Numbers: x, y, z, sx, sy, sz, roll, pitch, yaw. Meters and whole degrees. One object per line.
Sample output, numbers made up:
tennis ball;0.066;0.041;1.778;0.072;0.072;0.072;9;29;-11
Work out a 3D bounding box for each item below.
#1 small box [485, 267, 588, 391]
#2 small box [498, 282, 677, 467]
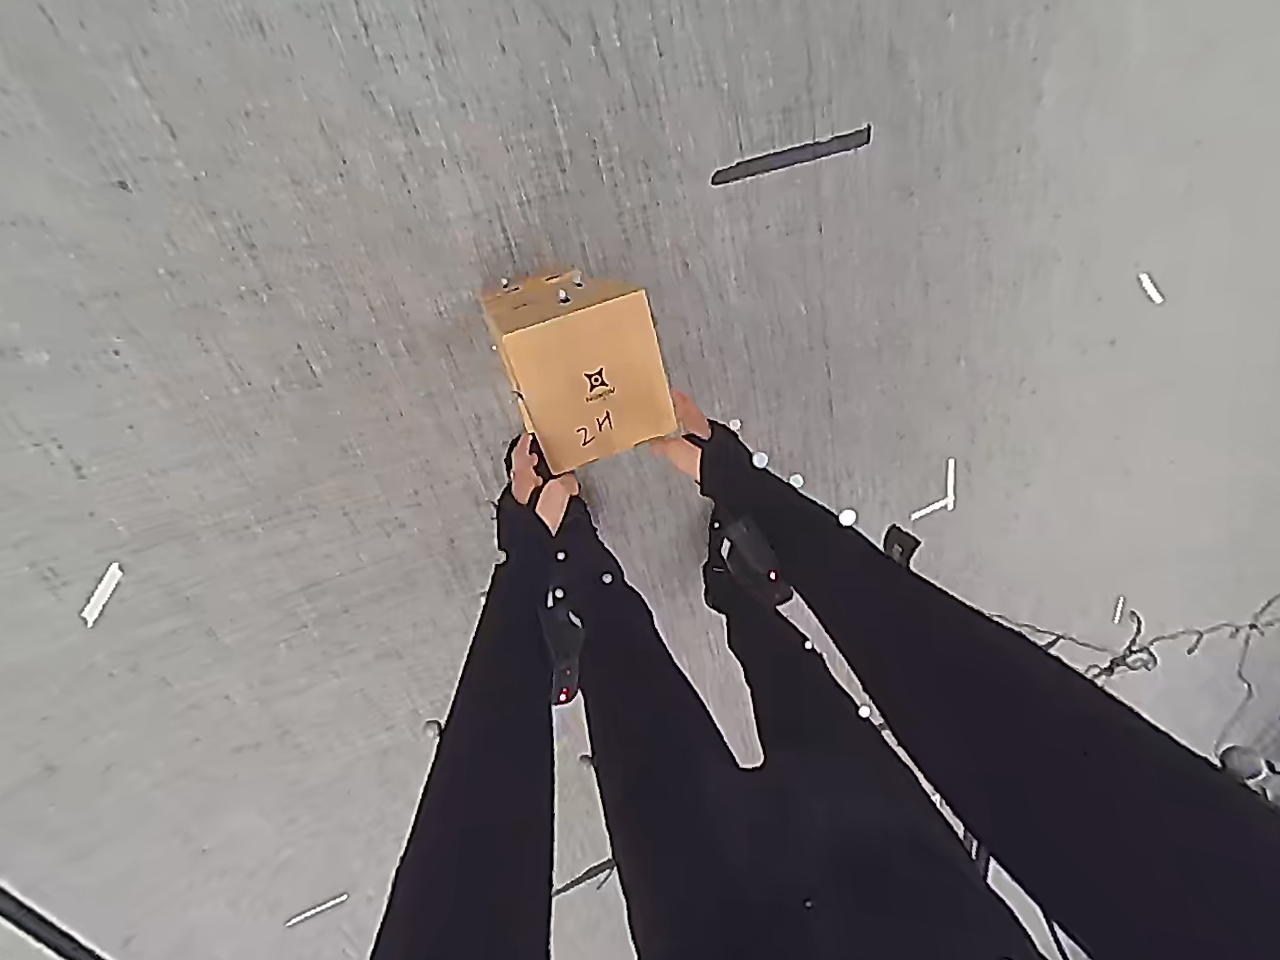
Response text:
small box;-0.171;-0.274;0.976;0.168;0.176;0.179;-21;117;-9
small box;-0.072;-0.145;0.691;0.168;0.176;0.179;-21;118;-9
